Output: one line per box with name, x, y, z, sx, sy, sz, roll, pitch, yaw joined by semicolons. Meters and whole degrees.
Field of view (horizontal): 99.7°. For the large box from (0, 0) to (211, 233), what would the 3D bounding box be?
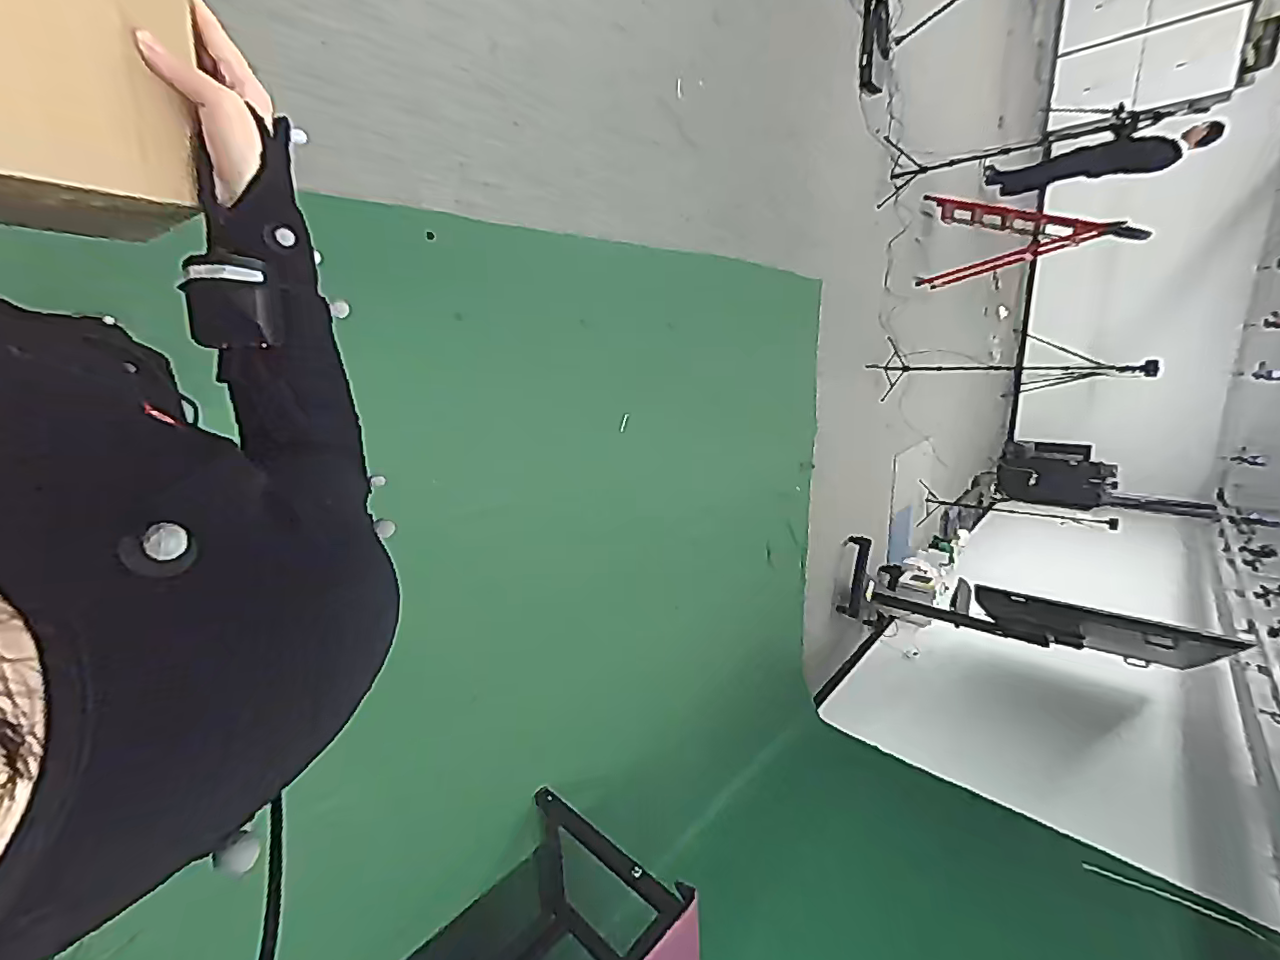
large box;-0.562;-0.358;0.323;0.408;0.320;0.320;-13;112;-48
